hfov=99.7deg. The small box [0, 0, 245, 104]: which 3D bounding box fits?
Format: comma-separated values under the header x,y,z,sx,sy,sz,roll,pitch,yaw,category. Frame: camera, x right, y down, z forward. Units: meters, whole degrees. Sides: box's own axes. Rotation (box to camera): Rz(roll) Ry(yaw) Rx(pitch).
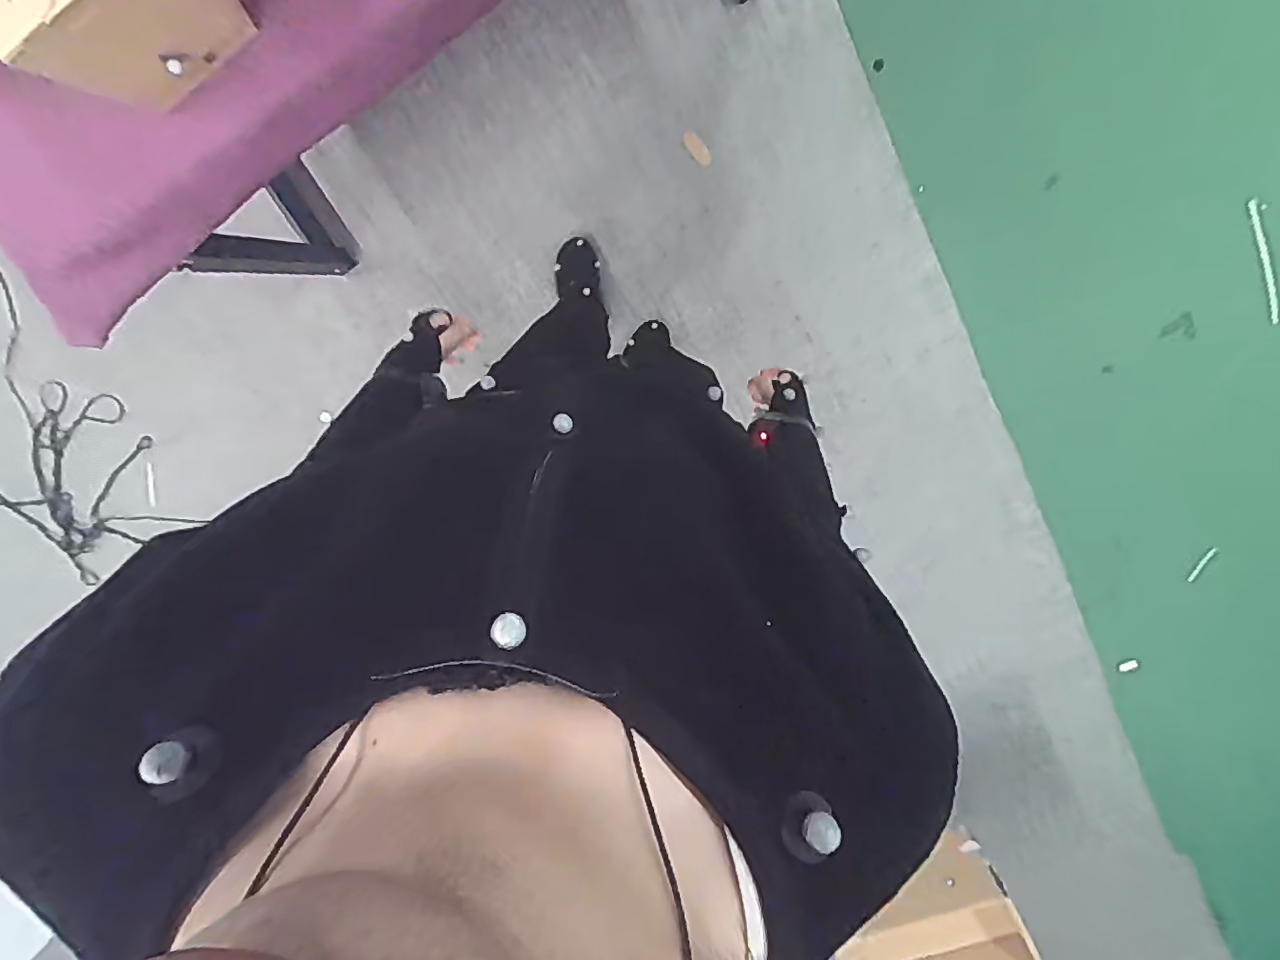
x,y,z,sx,sy,sz,roll,pitch,yaw,category
-0.548,-0.514,0.519,0.168,0.176,0.179,-28,106,12,small box
